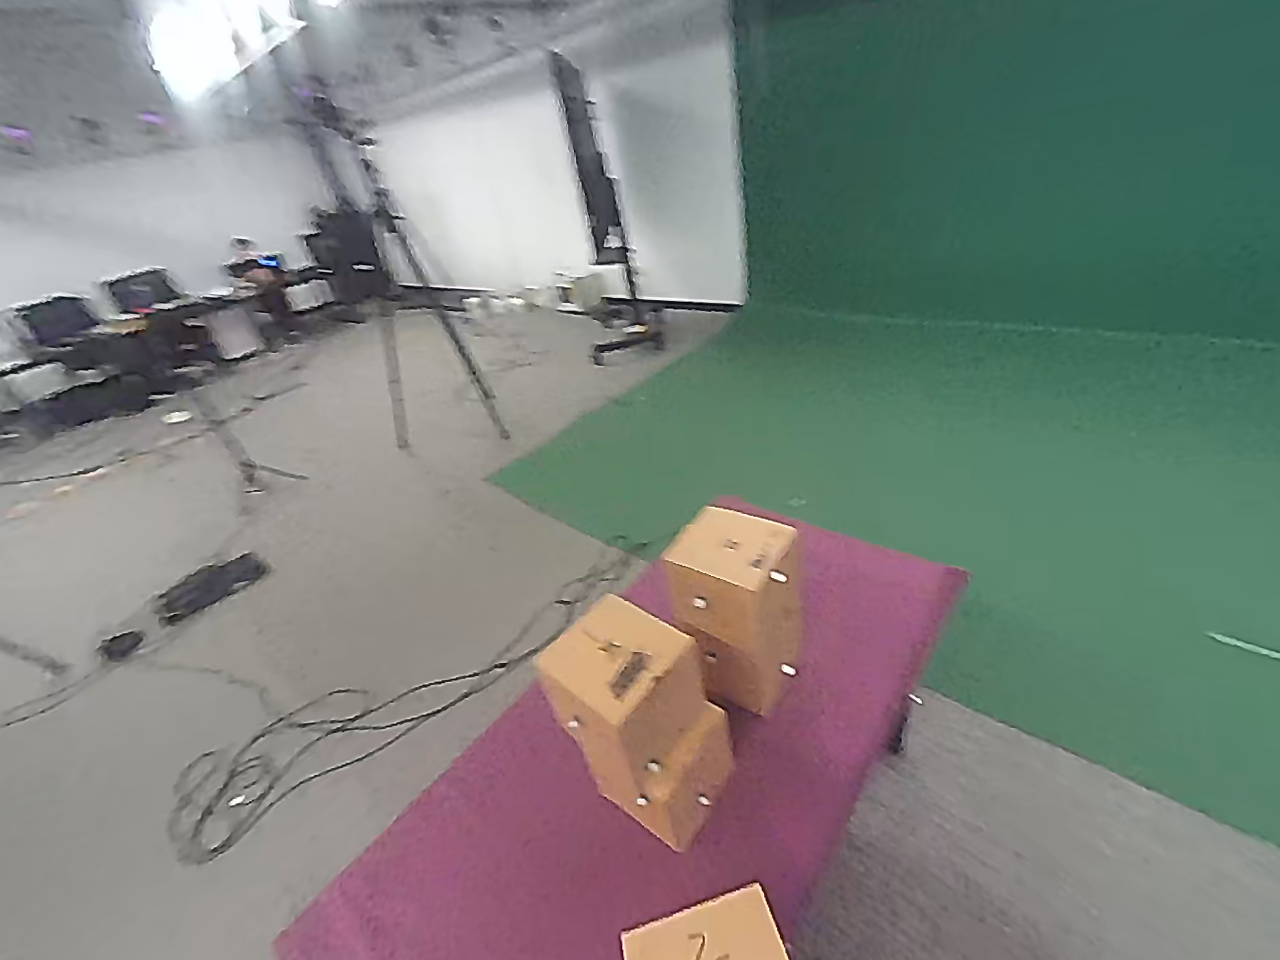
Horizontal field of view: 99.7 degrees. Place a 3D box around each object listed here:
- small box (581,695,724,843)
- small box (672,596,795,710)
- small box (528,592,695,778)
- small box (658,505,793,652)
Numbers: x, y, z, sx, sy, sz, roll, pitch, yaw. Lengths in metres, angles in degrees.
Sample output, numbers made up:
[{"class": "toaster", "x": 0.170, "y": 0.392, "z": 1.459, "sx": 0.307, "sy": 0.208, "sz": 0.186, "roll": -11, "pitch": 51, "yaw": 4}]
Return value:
[{"class": "small box", "x": 0.021, "y": 0.447, "z": 0.889, "sx": 0.179, "sy": 0.176, "sz": 0.168, "roll": 17, "pitch": 42, "yaw": 35}, {"class": "small box", "x": 0.185, "y": 0.307, "z": 1.044, "sx": 0.179, "sy": 0.176, "sz": 0.168, "roll": 15, "pitch": 42, "yaw": 34}, {"class": "small box", "x": -0.034, "y": 0.308, "z": 0.813, "sx": 0.179, "sy": 0.176, "sz": 0.168, "roll": 19, "pitch": 44, "yaw": 39}, {"class": "small box", "x": 0.157, "y": 0.171, "z": 0.955, "sx": 0.179, "sy": 0.176, "sz": 0.168, "roll": 14, "pitch": 41, "yaw": 34}]
